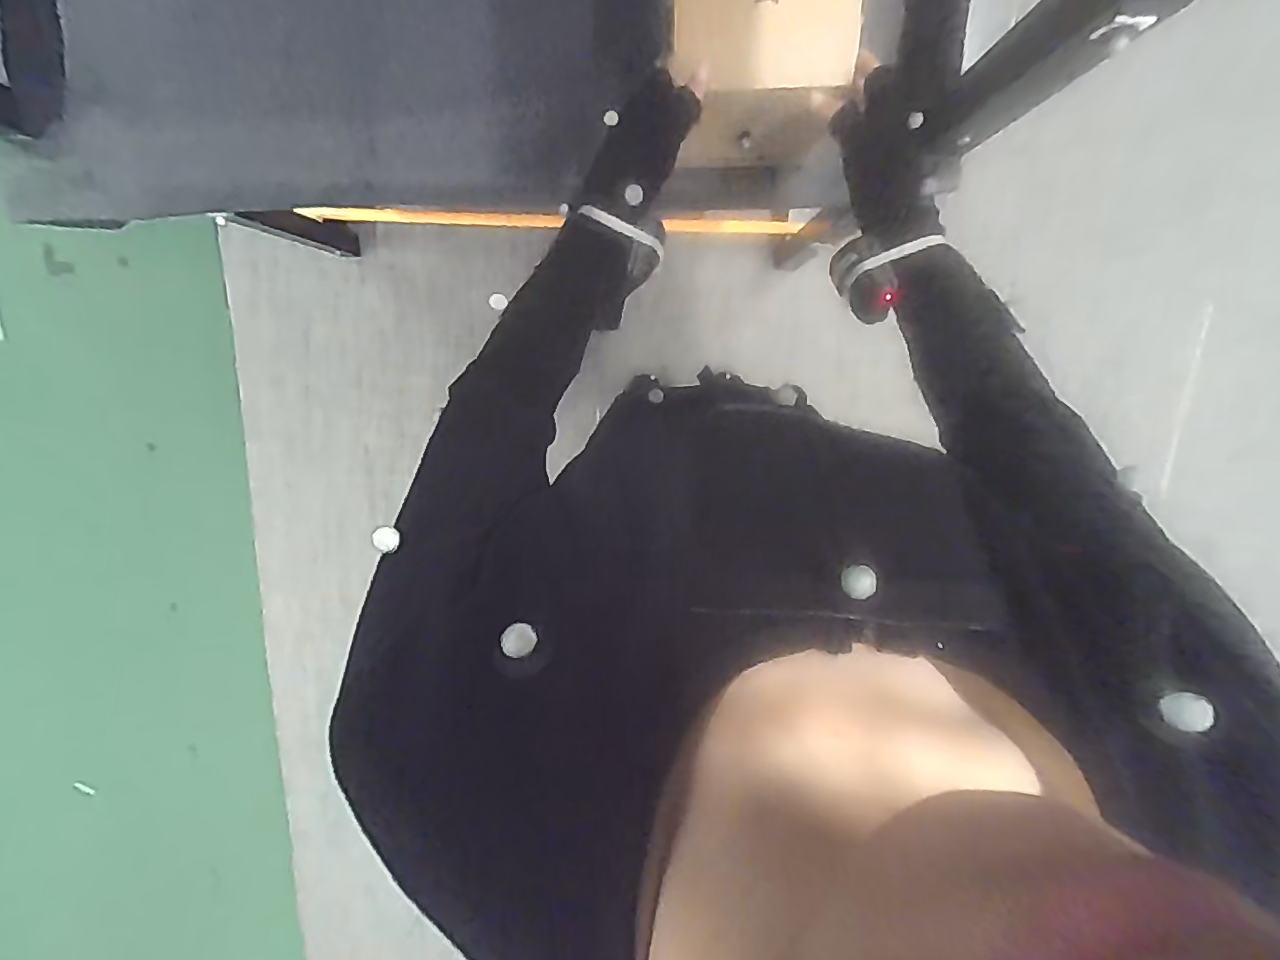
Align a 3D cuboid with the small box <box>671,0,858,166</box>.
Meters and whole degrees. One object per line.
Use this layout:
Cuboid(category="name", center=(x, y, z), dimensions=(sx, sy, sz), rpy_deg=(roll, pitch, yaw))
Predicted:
Cuboid(category="small box", center=(0.116, -0.447, 0.560), dimensions=(0.168, 0.176, 0.179), rpy_deg=(0, 98, 3))
